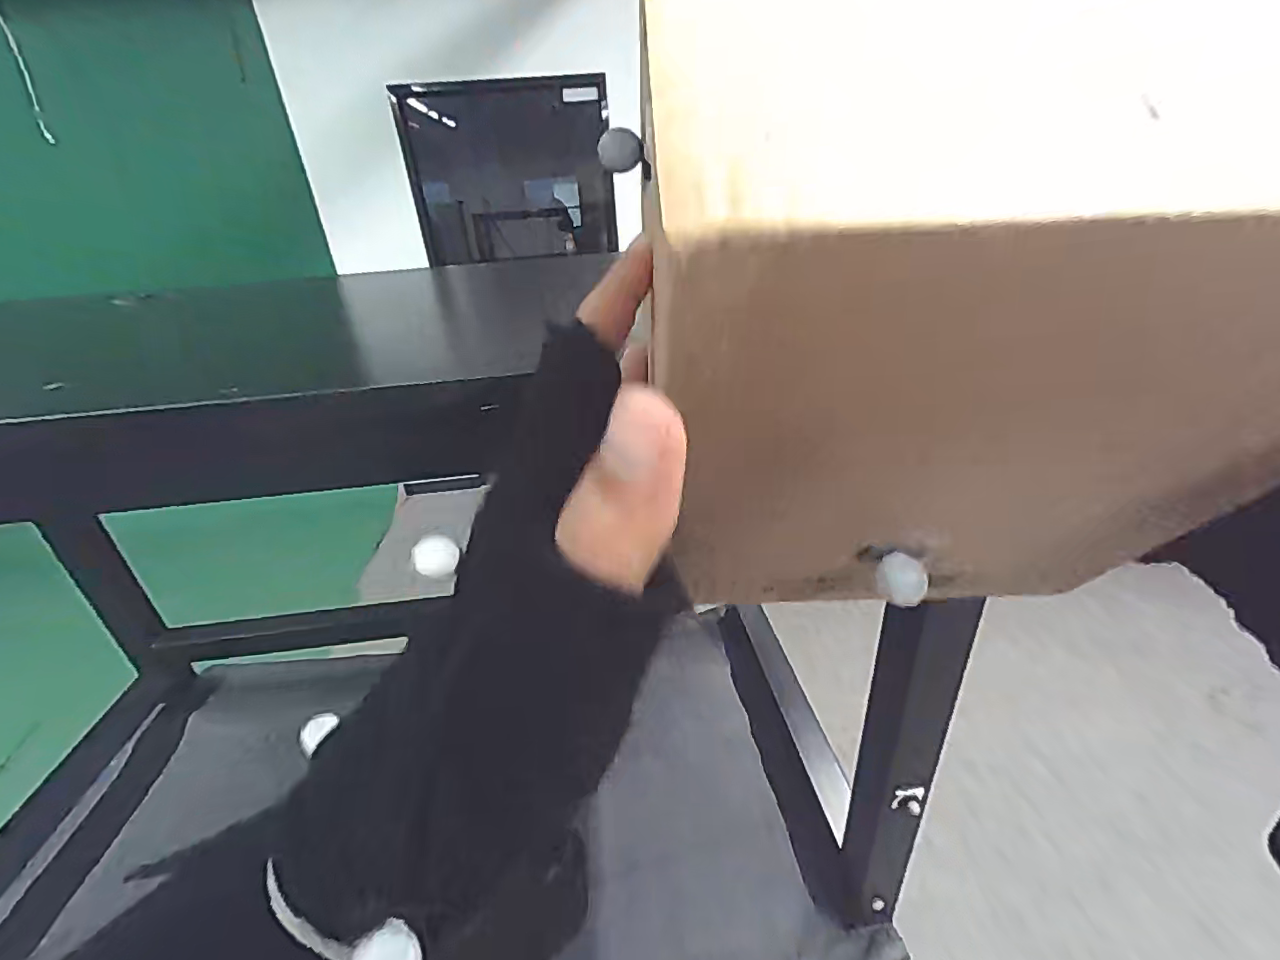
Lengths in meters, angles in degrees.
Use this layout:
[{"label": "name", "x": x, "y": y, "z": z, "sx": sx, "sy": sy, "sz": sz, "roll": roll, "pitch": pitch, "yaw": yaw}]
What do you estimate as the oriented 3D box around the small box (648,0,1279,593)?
[{"label": "small box", "x": 0.086, "y": -0.072, "z": 0.185, "sx": 0.168, "sy": 0.176, "sz": 0.179, "roll": -1, "pitch": 61, "yaw": 1}]
